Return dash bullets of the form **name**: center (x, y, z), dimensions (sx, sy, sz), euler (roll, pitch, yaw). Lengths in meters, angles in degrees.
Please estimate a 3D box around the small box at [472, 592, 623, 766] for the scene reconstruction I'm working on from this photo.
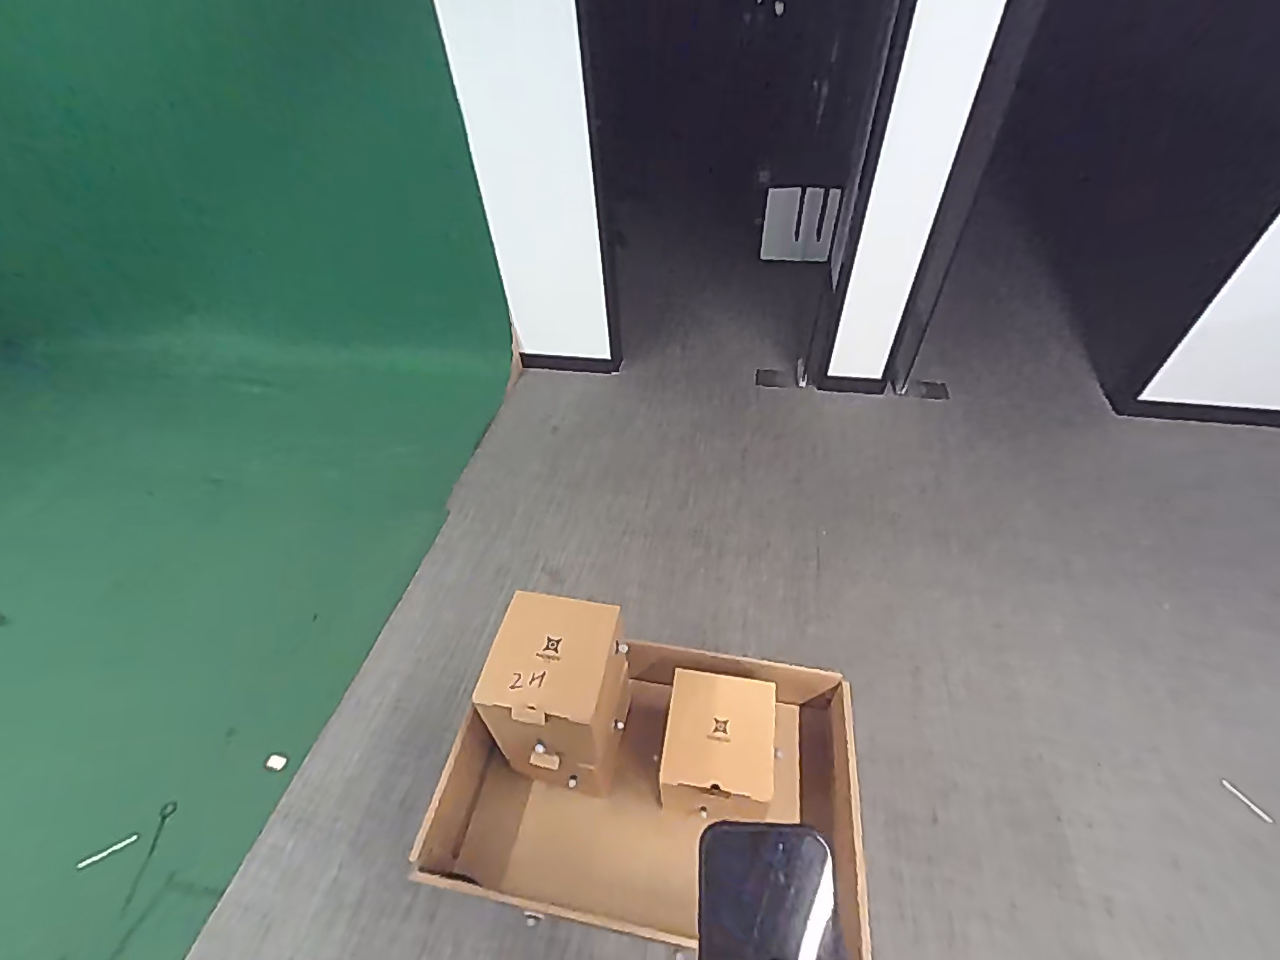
- **small box**: center (-0.123, 0.296, 0.809), dimensions (0.168, 0.176, 0.179), euler (7, 47, 10)

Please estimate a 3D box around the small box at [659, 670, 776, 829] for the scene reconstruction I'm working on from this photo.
- **small box**: center (0.127, 0.440, 0.883), dimensions (0.168, 0.176, 0.179), euler (5, 48, 10)
